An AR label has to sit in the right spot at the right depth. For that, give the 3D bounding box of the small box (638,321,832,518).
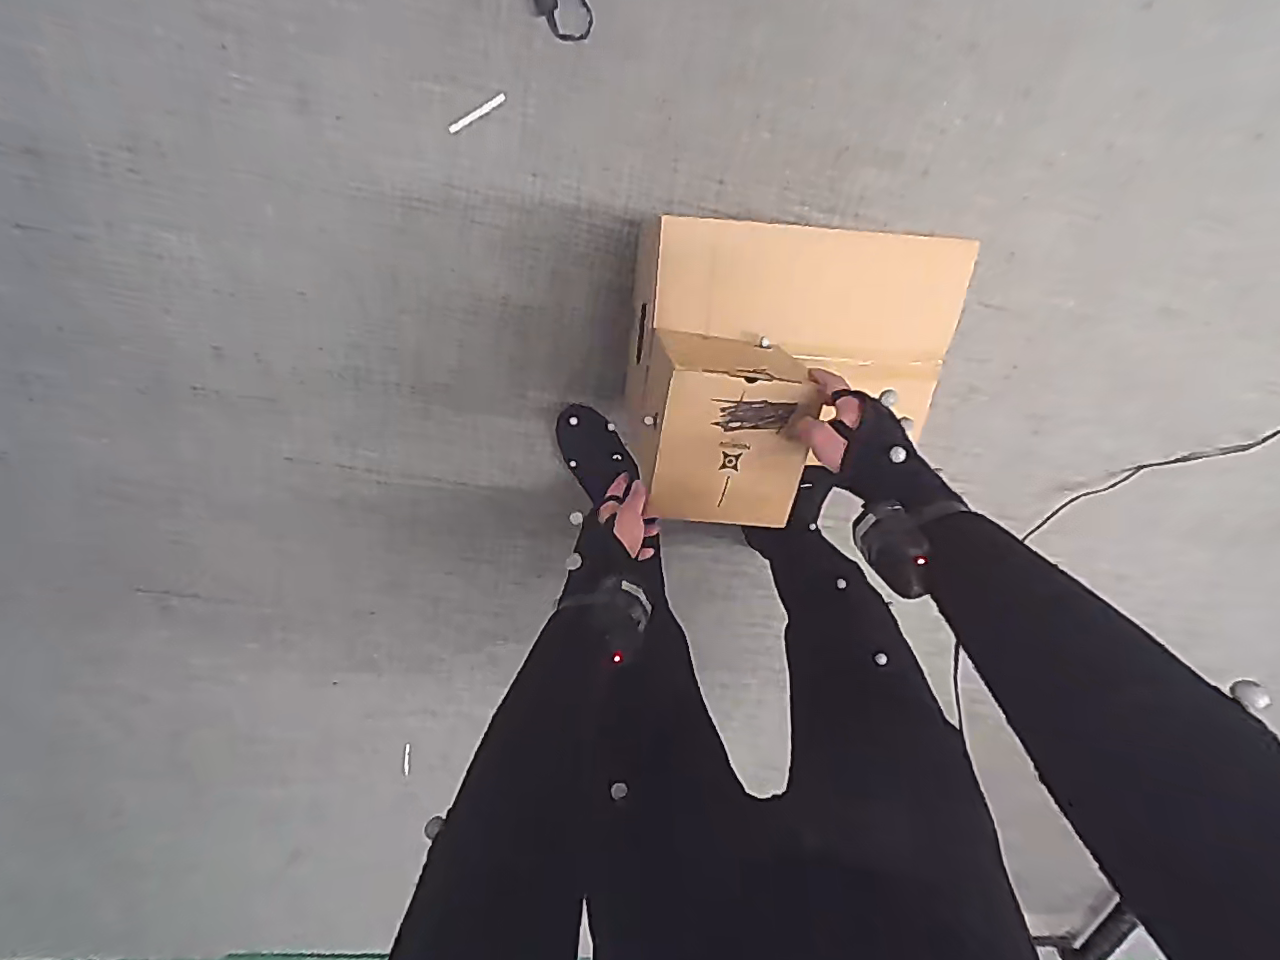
[{"bbox_3d":[0.094,-0.078,0.638,0.168,0.176,0.179,6,117,-9],"label":"small box"}]
